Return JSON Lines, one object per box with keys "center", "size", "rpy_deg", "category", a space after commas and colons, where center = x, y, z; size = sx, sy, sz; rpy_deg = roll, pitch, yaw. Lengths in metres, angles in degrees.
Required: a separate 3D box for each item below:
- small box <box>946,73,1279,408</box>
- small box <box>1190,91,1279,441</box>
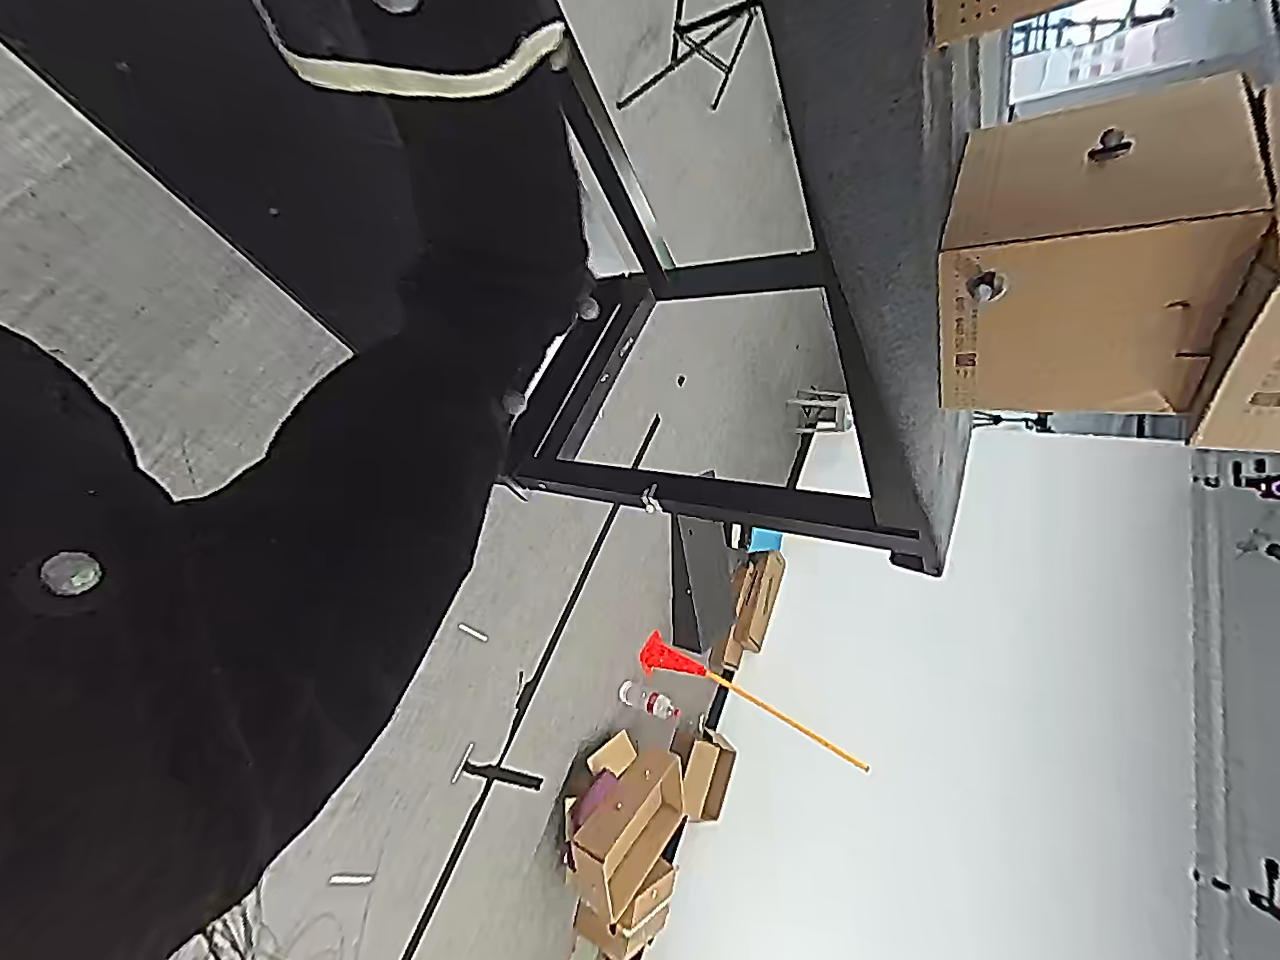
{"center": [0.351, -0.175, 0.437], "size": [0.168, 0.176, 0.179], "rpy_deg": [57, 50, -44], "category": "small box"}
{"center": [0.473, -0.132, 0.334], "size": [0.168, 0.176, 0.179], "rpy_deg": [50, 55, -49], "category": "small box"}
